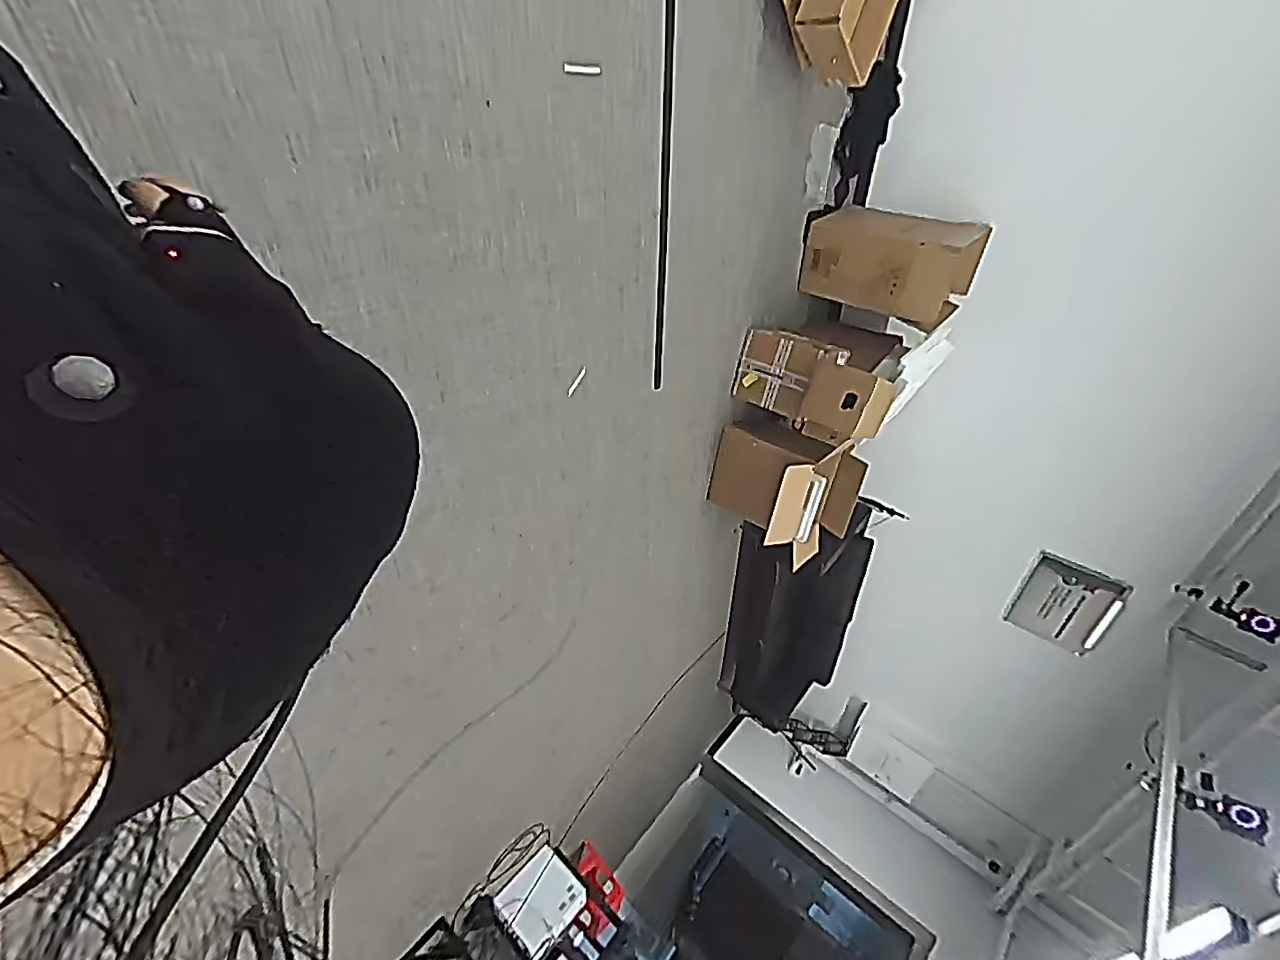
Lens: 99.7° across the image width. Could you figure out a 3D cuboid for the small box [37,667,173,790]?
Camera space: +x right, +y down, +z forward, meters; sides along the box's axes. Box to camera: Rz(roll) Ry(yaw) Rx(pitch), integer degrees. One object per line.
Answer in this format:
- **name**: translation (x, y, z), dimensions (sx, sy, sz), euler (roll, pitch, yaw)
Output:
- **small box**: translation (-1.281, 0.589, 1.298), dimensions (0.168, 0.176, 0.179), euler (-34, 139, -37)
